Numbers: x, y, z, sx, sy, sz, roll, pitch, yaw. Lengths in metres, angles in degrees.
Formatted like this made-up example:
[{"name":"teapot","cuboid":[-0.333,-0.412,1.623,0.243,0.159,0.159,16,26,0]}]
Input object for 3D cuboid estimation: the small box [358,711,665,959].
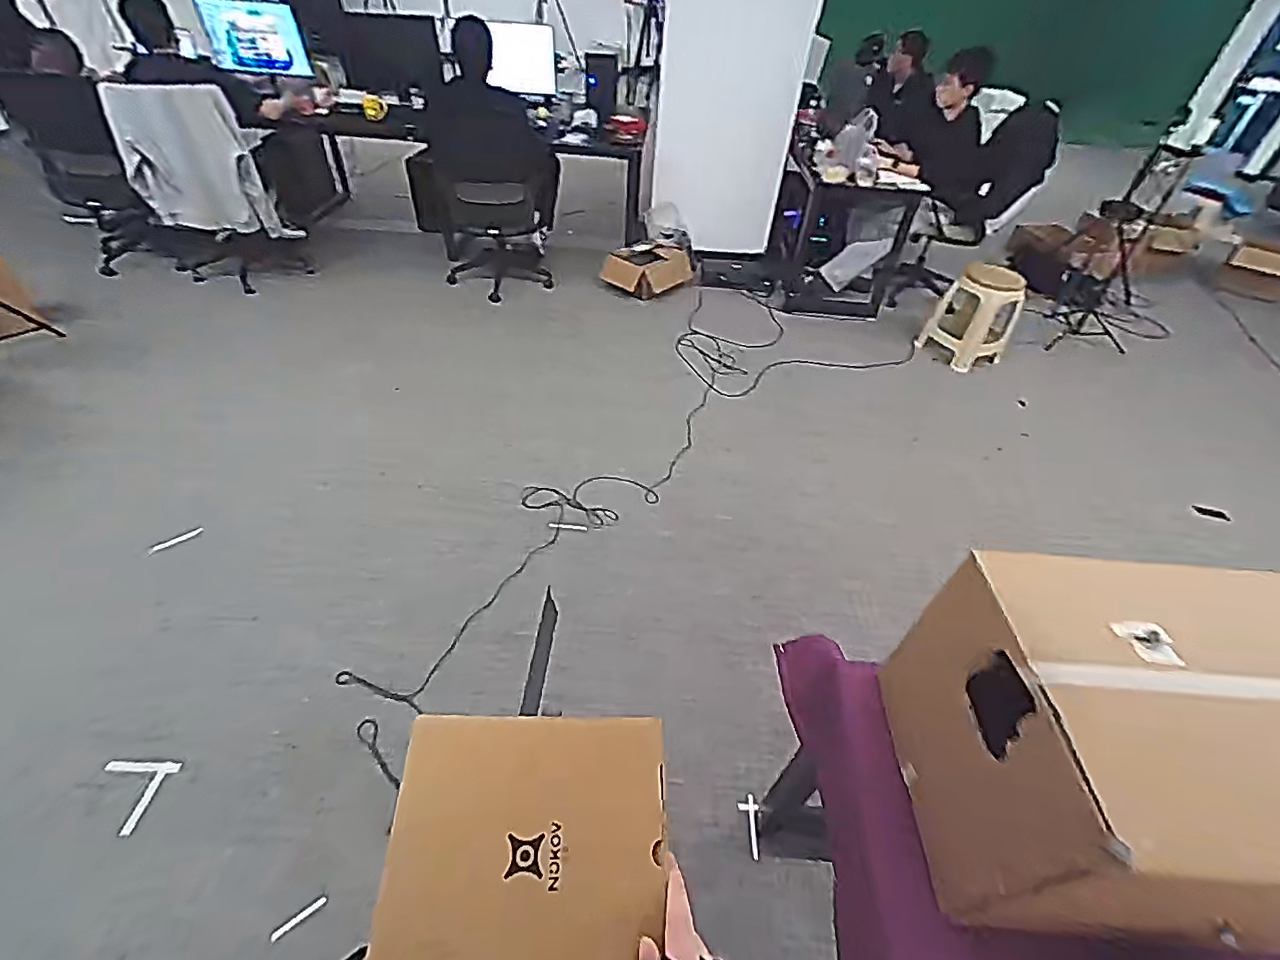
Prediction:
[{"name":"small box","cuboid":[-0.086,0.281,0.402,0.179,0.176,0.168,6,53,-10]}]
